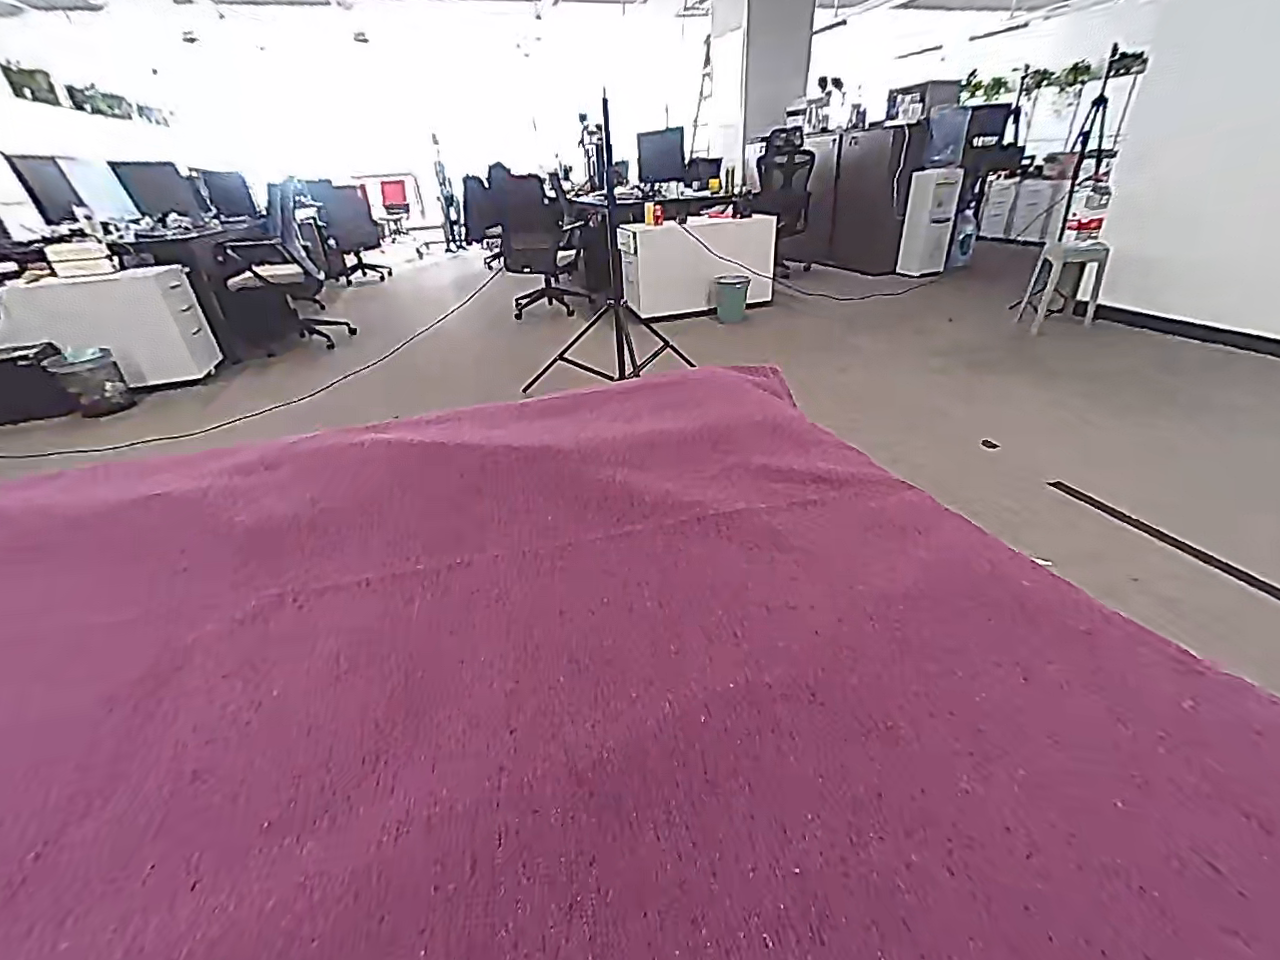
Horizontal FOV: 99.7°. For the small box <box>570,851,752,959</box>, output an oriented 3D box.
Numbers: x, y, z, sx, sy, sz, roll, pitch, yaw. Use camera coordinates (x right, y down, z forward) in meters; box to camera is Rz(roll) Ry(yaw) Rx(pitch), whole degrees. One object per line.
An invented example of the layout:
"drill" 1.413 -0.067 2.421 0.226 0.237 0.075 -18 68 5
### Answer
"small box" 0.030 0.540 0.560 0.168 0.176 0.179 -13 33 -12
